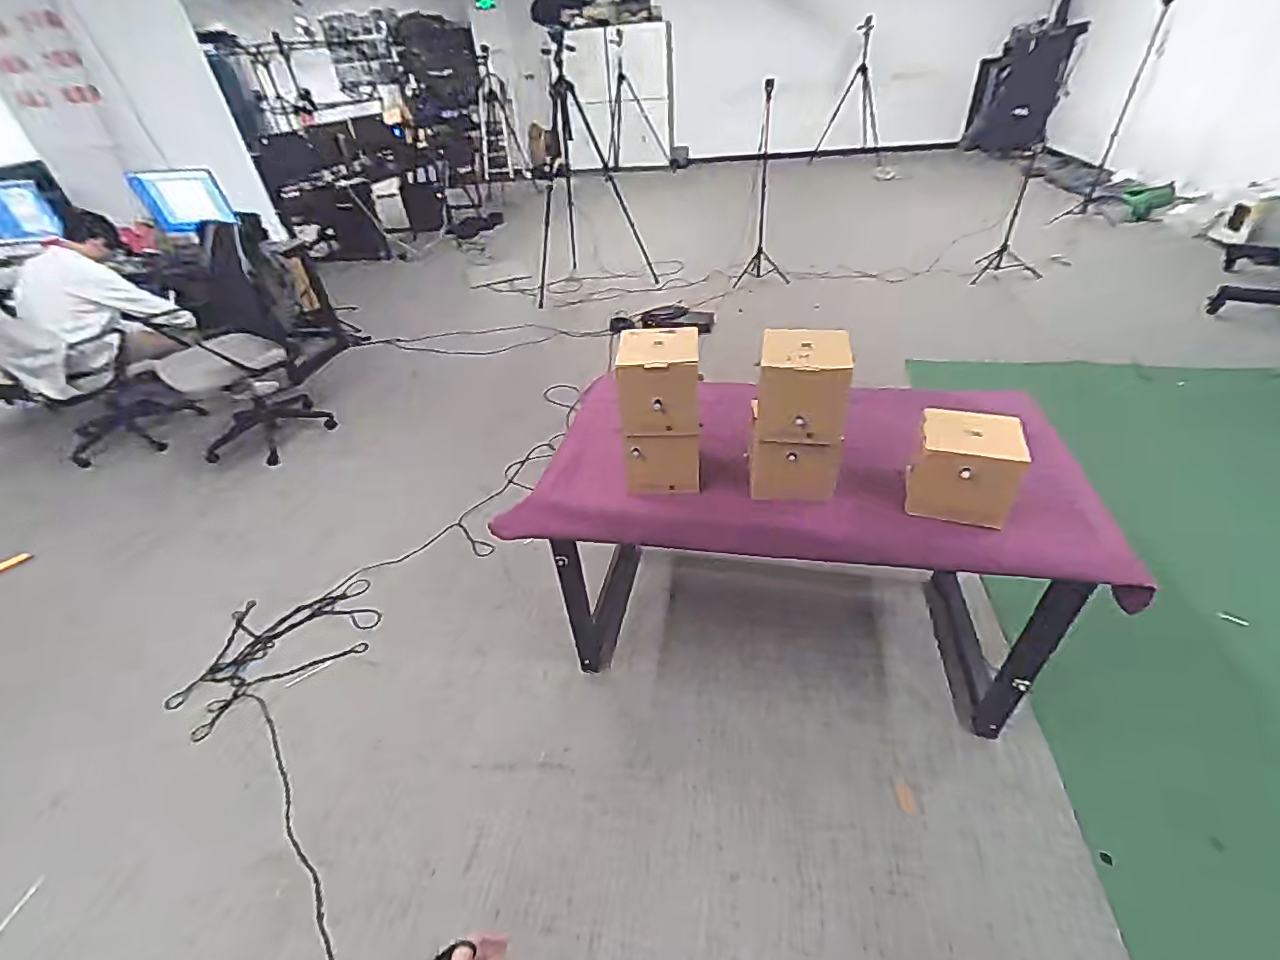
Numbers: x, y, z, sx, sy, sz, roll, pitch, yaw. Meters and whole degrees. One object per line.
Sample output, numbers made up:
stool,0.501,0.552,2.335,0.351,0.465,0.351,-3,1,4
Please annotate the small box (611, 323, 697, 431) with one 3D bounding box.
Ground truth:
small box,0.038,-0.215,1.147,0.168,0.176,0.179,0,39,6

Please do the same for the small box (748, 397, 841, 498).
small box,0.332,-0.073,1.200,0.179,0.176,0.168,0,39,6

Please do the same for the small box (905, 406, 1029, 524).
small box,0.656,-0.030,1.105,0.179,0.176,0.168,9,40,20

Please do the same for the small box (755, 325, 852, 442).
small box,0.322,-0.197,1.091,0.168,0.176,0.179,5,40,13
